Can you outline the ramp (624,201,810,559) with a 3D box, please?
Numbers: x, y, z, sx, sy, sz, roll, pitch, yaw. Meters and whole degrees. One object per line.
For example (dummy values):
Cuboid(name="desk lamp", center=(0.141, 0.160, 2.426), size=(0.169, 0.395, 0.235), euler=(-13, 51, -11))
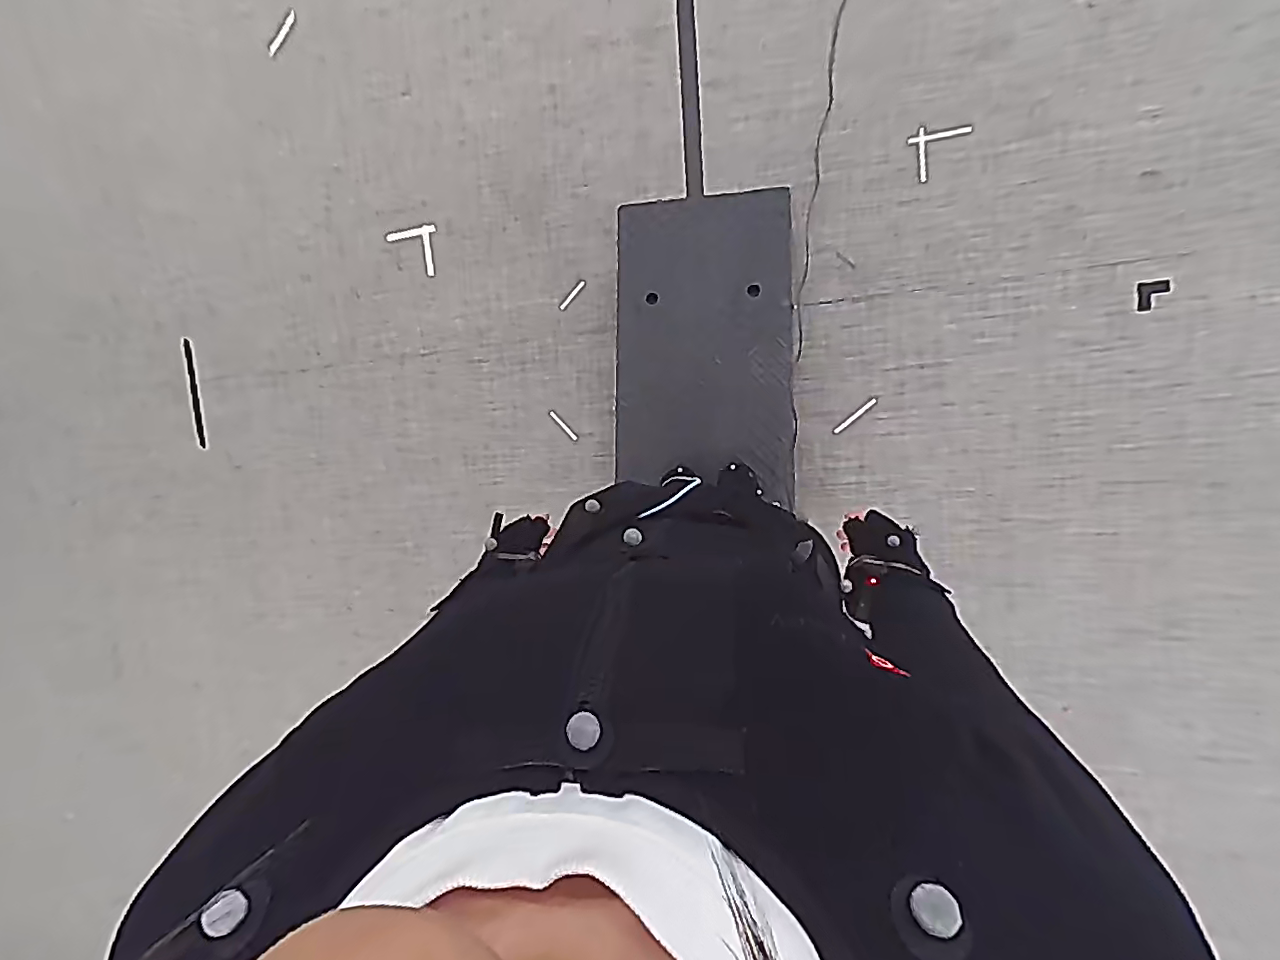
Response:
Cuboid(name="ramp", center=(0.196, -0.282, 1.514), size=(0.509, 0.206, 0.991), euler=(-4, 92, 13))
